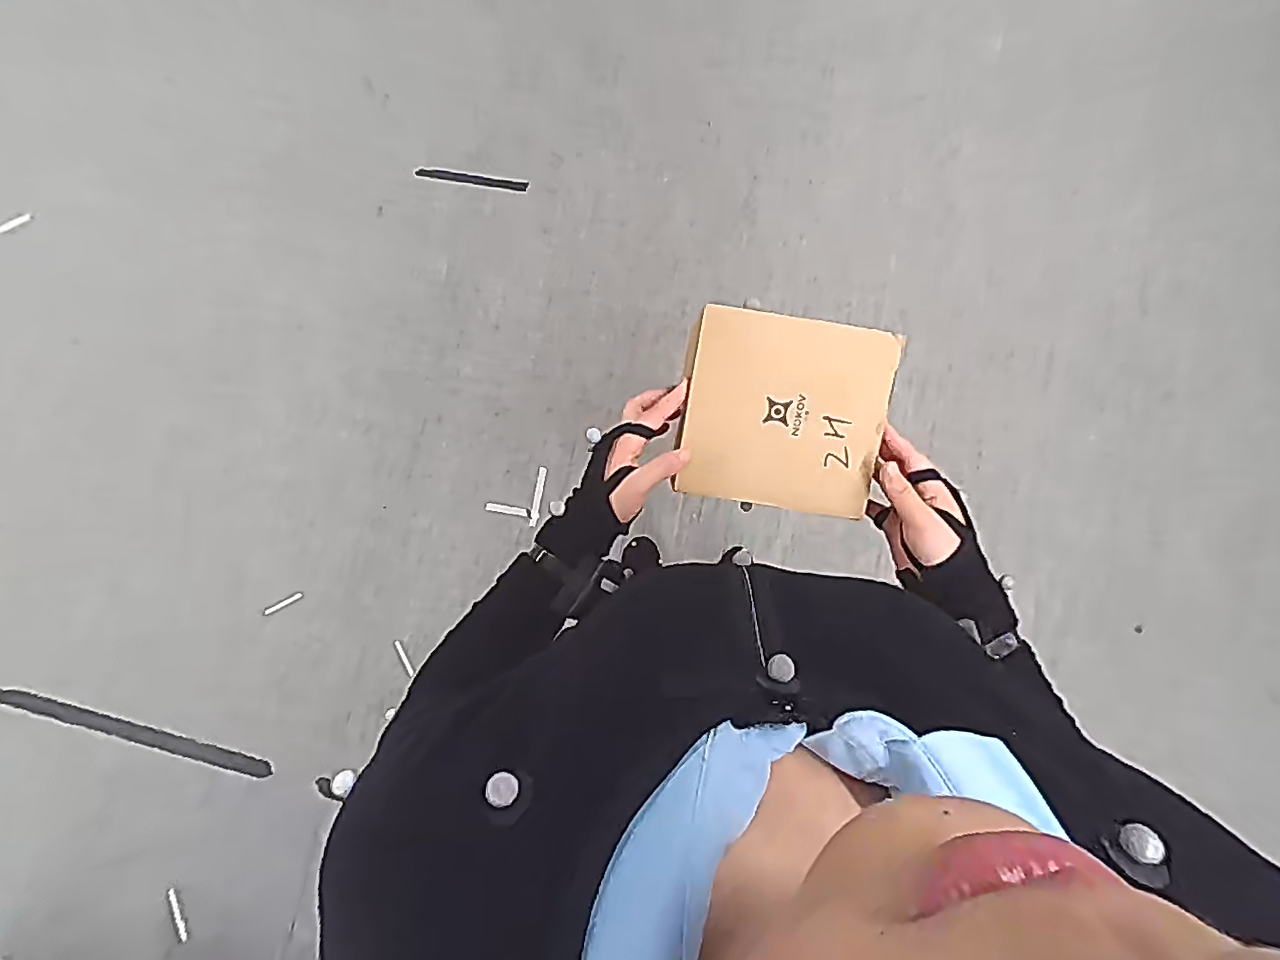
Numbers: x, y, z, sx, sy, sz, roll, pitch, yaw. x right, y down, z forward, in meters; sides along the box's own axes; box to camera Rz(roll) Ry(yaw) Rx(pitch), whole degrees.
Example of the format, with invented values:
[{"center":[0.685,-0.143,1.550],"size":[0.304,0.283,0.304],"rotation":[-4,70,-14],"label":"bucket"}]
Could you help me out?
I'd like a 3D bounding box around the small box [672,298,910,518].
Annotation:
[{"center":[0.130,-0.072,0.543],"size":[0.179,0.176,0.168],"rotation":[9,100,0],"label":"small box"}]
